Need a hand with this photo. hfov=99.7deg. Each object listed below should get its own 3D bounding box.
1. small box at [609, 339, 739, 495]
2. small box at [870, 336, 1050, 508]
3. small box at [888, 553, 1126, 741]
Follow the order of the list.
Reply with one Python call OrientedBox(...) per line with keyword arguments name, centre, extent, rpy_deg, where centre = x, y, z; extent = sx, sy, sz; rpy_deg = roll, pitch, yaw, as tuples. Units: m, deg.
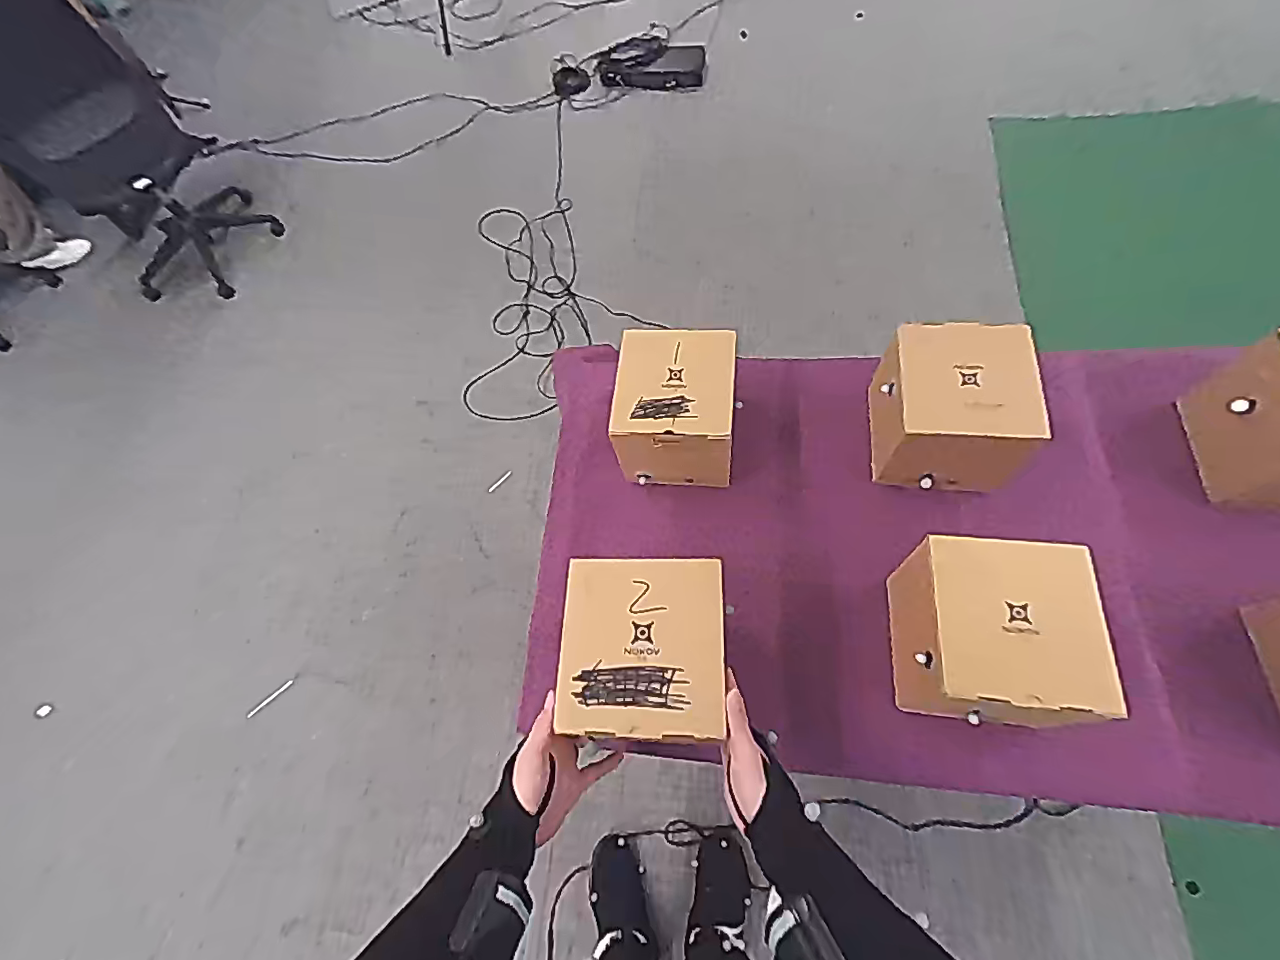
OrientedBox(name="small box", centre=(0.058, -0.088, 0.810), extent=(0.168, 0.176, 0.179), rpy_deg=(4, 66, 8))
OrientedBox(name="small box", centre=(0.432, -0.078, 0.764), extent=(0.168, 0.176, 0.179), rpy_deg=(5, 67, 10))
OrientedBox(name="small box", centre=(0.406, 0.201, 0.638), extent=(0.168, 0.176, 0.179), rpy_deg=(4, 65, 8))
